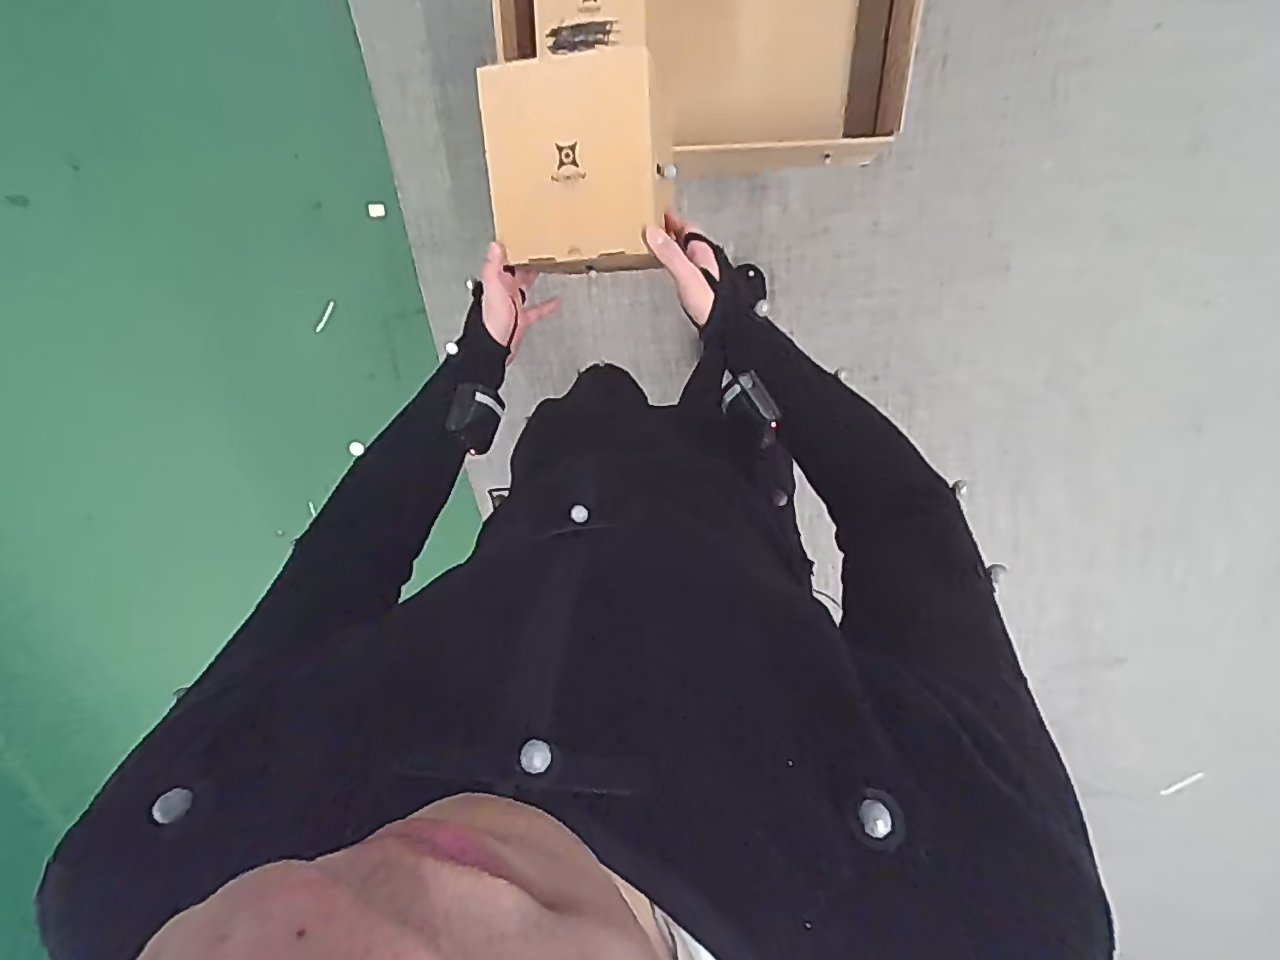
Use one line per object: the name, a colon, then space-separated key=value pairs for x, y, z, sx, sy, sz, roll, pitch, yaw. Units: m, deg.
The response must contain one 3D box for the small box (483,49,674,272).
small box: x=-0.052 y=-0.329 z=0.594 sx=0.168 sy=0.176 sz=0.179 roll=0 pitch=110 yaw=9
